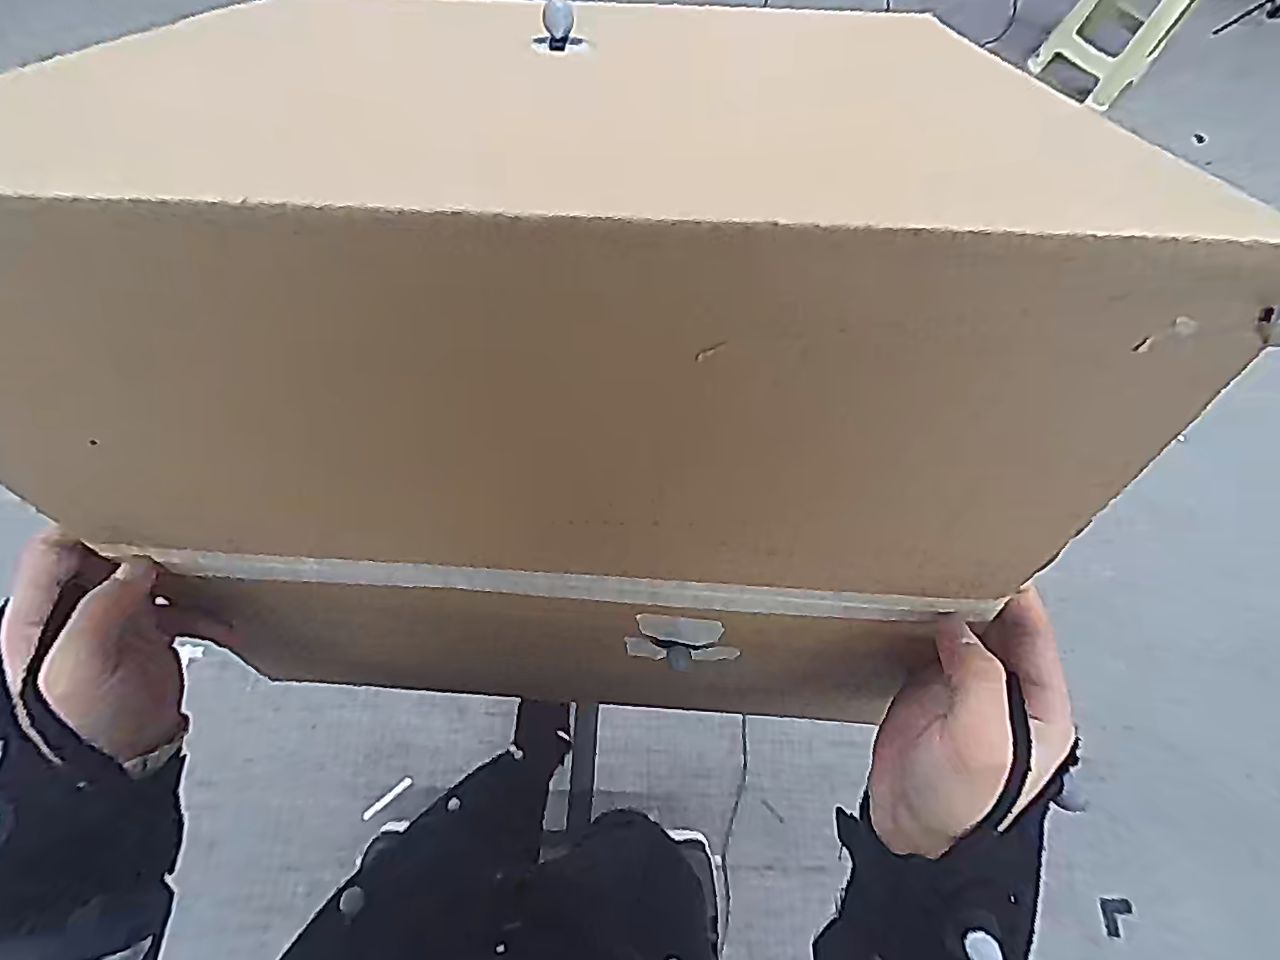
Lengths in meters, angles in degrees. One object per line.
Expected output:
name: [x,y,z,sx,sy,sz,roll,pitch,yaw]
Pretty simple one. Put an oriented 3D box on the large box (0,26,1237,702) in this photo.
large box: [-0.041,-0.074,0.352,0.408,0.320,0.320,2,49,2]
